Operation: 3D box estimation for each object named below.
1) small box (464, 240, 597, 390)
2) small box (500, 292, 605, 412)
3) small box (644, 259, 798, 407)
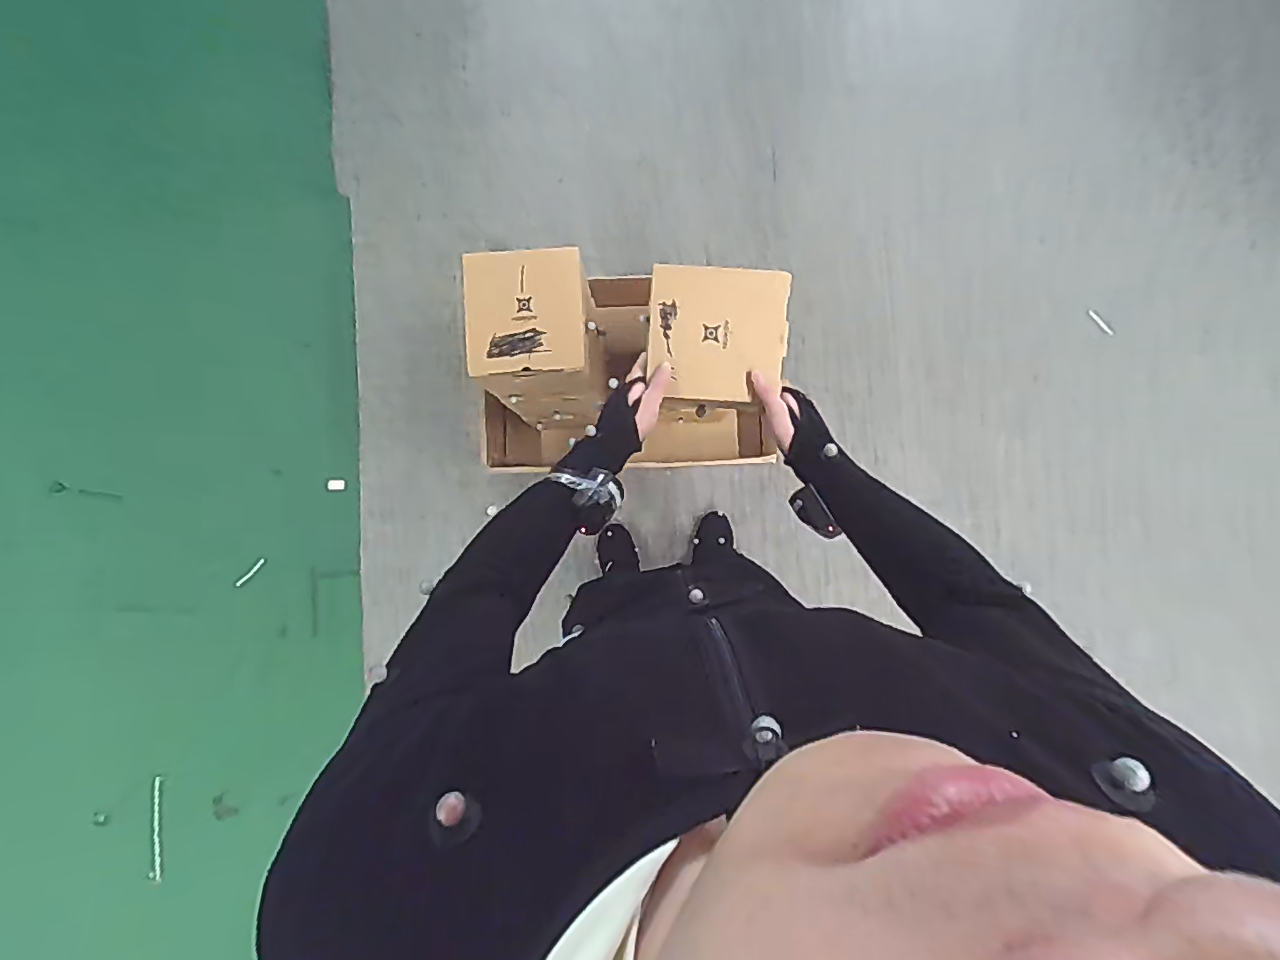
[{"bbox_3d":[-0.156,-0.237,0.818,0.168,0.176,0.179,-3,87,-1],"label":"small box"},{"bbox_3d":[-0.153,-0.225,0.982,0.168,0.176,0.179,-2,88,0],"label":"small box"},{"bbox_3d":[0.100,-0.191,0.748,0.179,0.176,0.168,4,95,-2],"label":"small box"}]
